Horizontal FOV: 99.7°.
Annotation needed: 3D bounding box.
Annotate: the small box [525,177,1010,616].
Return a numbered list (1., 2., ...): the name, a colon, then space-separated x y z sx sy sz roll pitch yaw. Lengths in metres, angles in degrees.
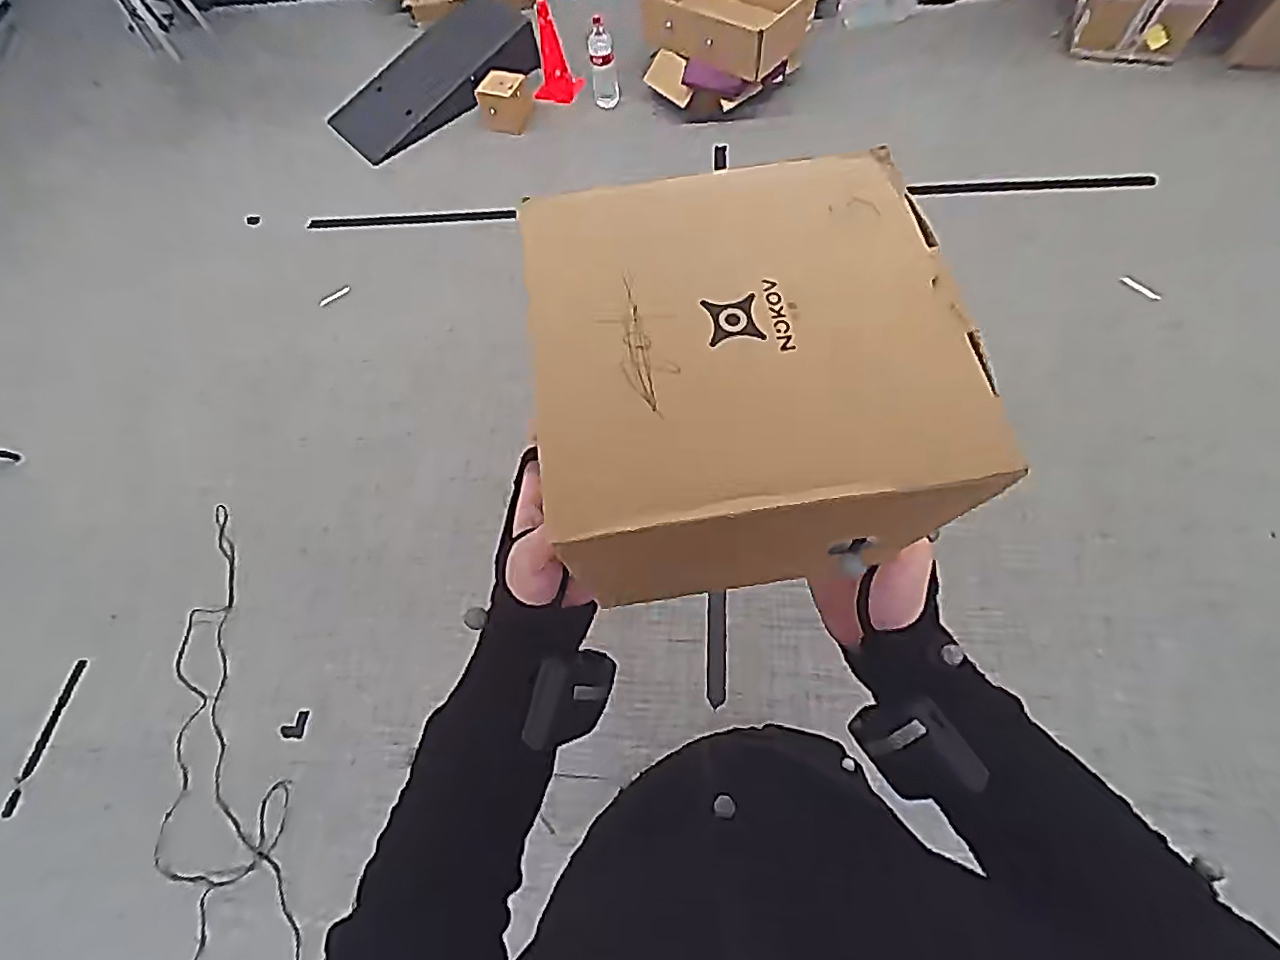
1. small box: 0.046 -0.027 0.303 0.179 0.176 0.168 -10 68 0
